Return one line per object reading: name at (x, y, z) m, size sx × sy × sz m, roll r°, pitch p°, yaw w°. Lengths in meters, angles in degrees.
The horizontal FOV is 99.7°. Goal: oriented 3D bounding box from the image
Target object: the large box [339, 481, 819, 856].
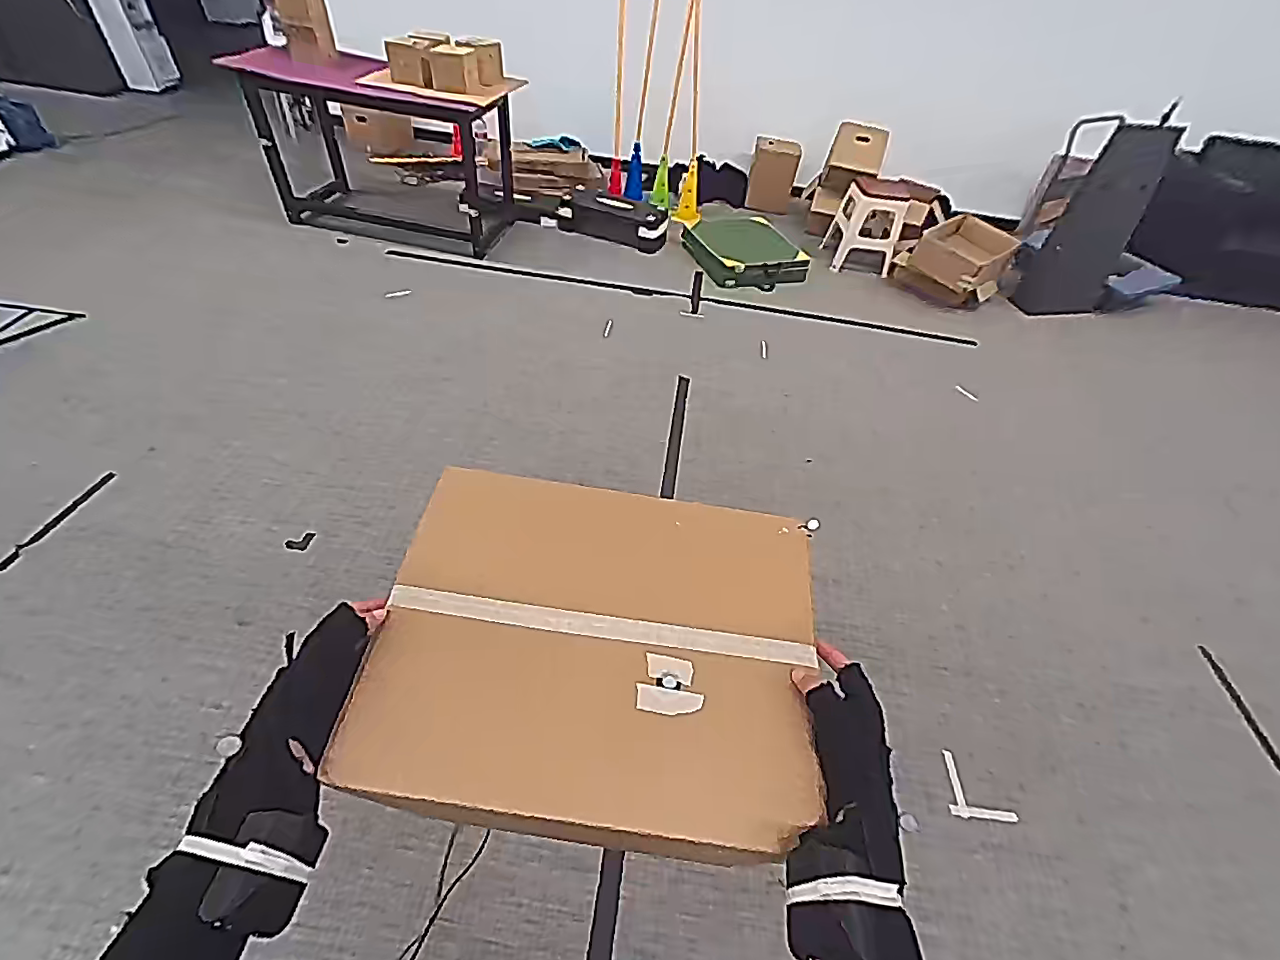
large box at (-0.048, 0.235, 0.644) m, size 0.408 × 0.320 × 0.320 m, roll 9°, pitch 55°, yaw 0°
